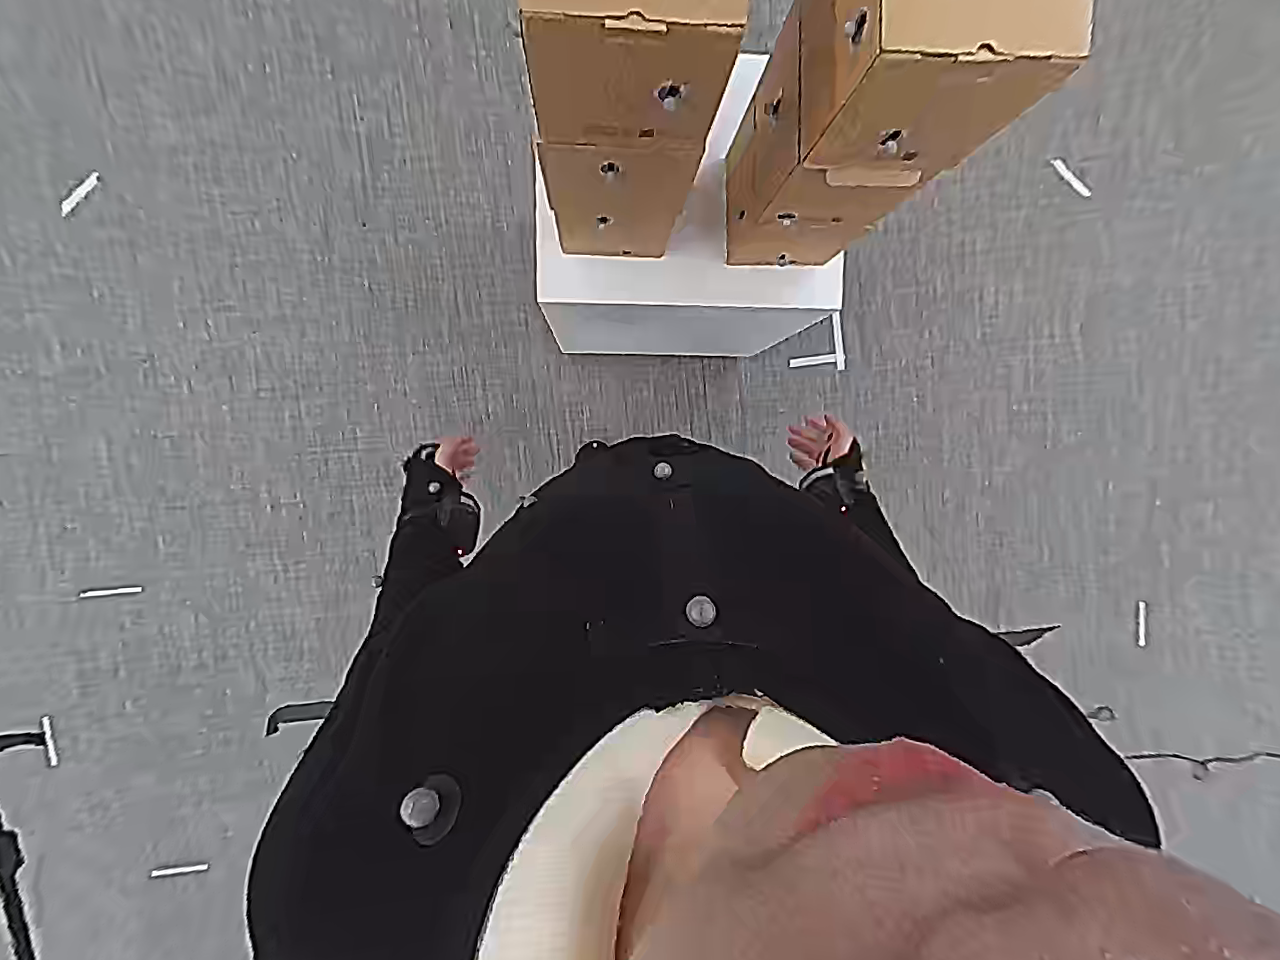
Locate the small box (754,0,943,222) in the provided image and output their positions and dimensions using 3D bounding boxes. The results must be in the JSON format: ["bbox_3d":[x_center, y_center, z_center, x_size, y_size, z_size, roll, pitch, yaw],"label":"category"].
[{"bbox_3d":[0.237,-0.421,0.637,0.168,0.176,0.179,-1,94,-4],"label":"small box"}]

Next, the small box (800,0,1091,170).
[{"bbox_3d":[0.249,-0.406,0.476,0.168,0.176,0.179,-2,95,-4],"label":"small box"}]

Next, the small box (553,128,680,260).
[{"bbox_3d":[-0.035,-0.439,0.782,0.168,0.176,0.179,1,94,-4],"label":"small box"}]

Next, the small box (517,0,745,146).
[{"bbox_3d":[-0.009,-0.414,0.456,0.168,0.176,0.179,0,94,-5],"label":"small box"}]
